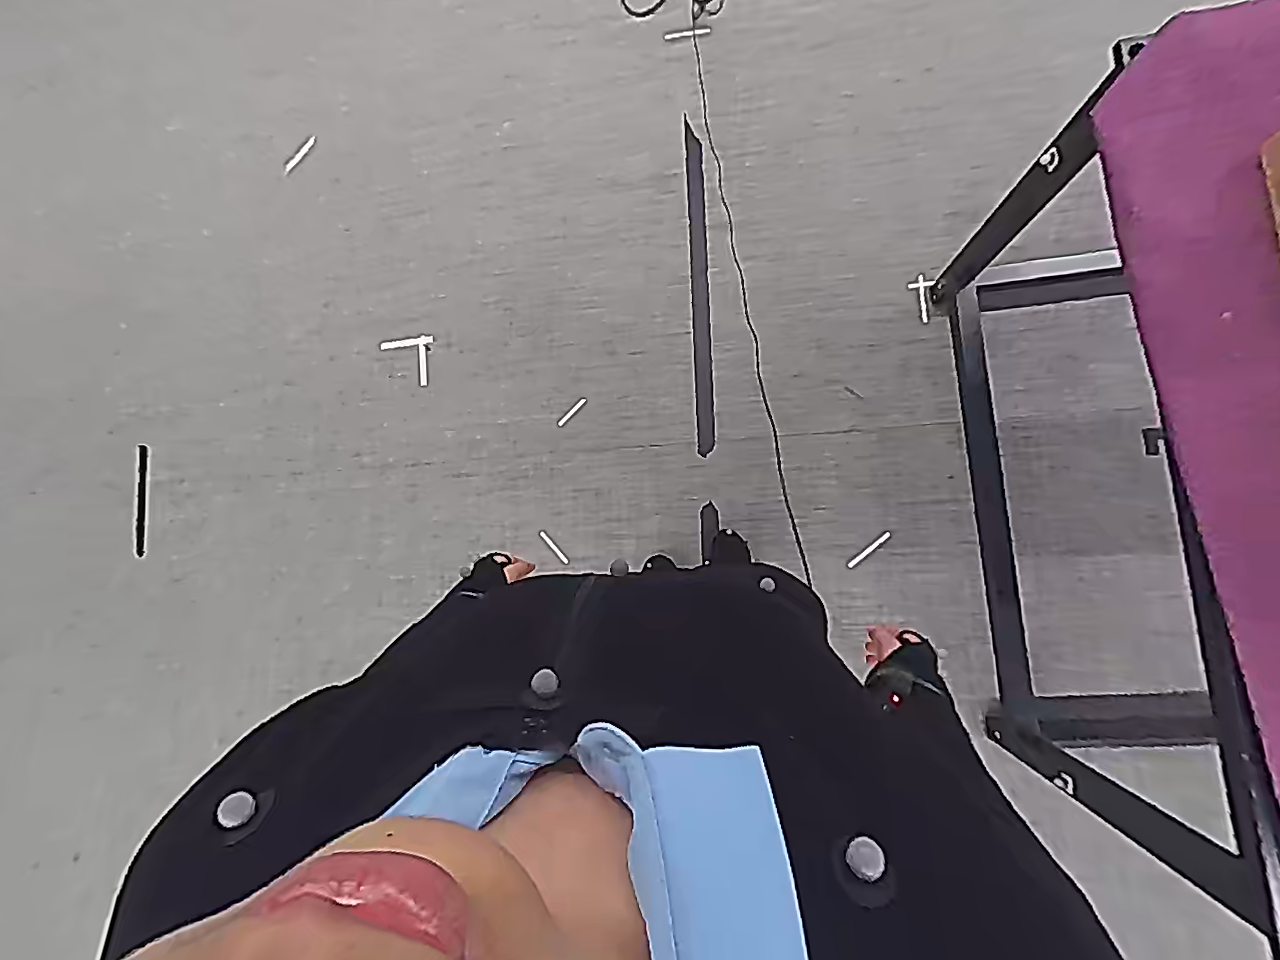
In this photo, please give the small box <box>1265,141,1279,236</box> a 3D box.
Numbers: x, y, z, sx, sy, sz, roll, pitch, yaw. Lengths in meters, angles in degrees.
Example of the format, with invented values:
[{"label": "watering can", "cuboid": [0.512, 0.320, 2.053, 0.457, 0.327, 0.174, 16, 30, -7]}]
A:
[{"label": "small box", "cuboid": [0.903, -0.378, 0.616, 0.179, 0.176, 0.168, -7, 84, 7]}]
